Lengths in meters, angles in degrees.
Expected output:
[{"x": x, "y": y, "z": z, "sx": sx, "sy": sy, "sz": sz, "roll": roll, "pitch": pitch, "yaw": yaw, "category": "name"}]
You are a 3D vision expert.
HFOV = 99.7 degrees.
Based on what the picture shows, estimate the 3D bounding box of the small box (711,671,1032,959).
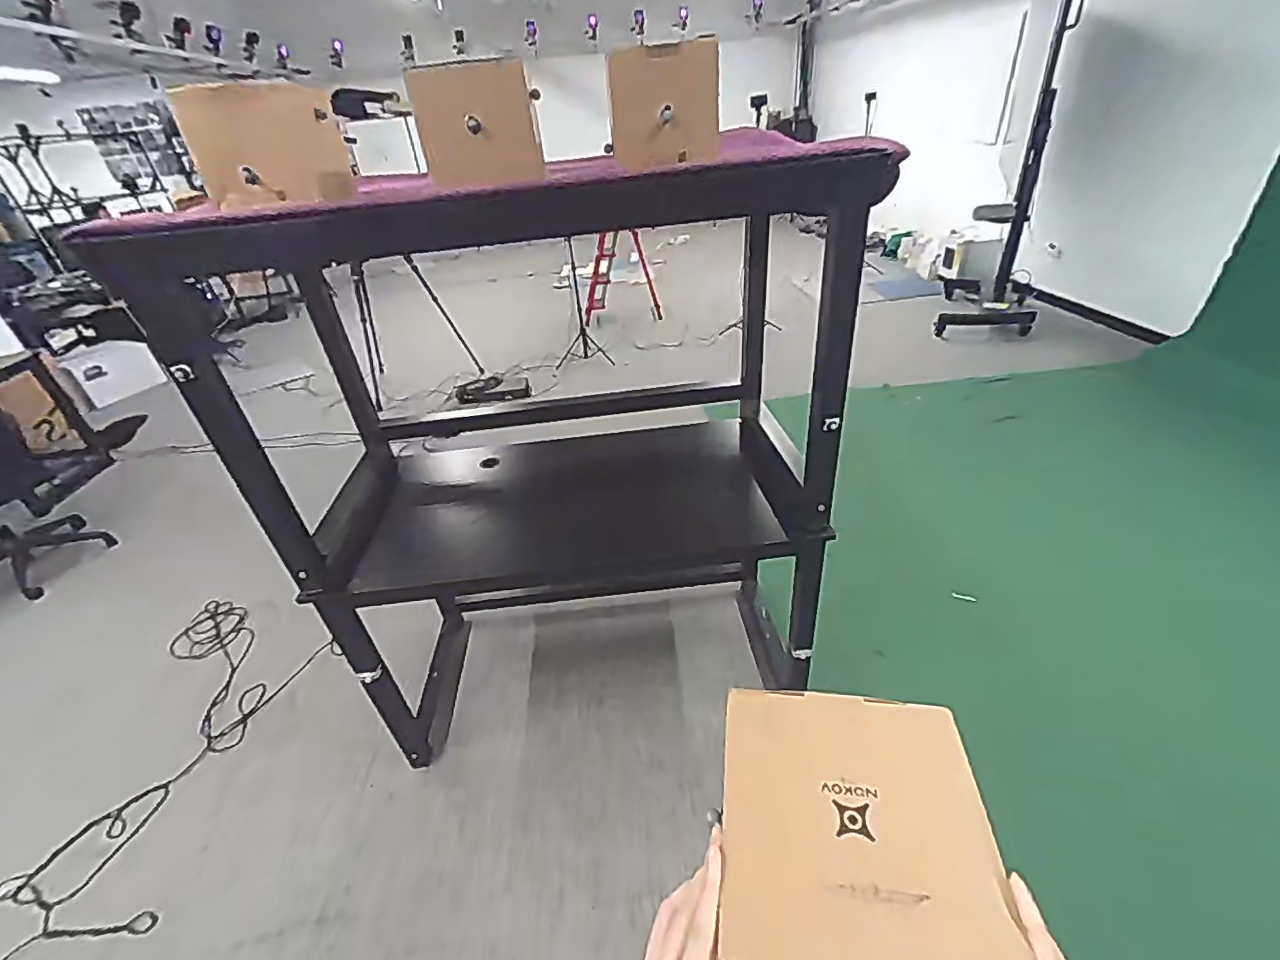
[{"x": 0.140, "y": 0.271, "z": 0.394, "sx": 0.168, "sy": 0.176, "sz": 0.179, "roll": 2, "pitch": 34, "yaw": 11, "category": "small box"}]

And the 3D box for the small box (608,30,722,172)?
[{"x": 0.040, "y": -0.611, "z": 0.885, "sx": 0.168, "sy": 0.176, "sz": 0.179, "roll": -6, "pitch": 35, "yaw": 0, "category": "small box"}]

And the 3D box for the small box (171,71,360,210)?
[{"x": -0.571, "y": -0.532, "z": 0.858, "sx": 0.168, "sy": 0.176, "sz": 0.179, "roll": -8, "pitch": 33, "yaw": -5, "category": "small box"}]
